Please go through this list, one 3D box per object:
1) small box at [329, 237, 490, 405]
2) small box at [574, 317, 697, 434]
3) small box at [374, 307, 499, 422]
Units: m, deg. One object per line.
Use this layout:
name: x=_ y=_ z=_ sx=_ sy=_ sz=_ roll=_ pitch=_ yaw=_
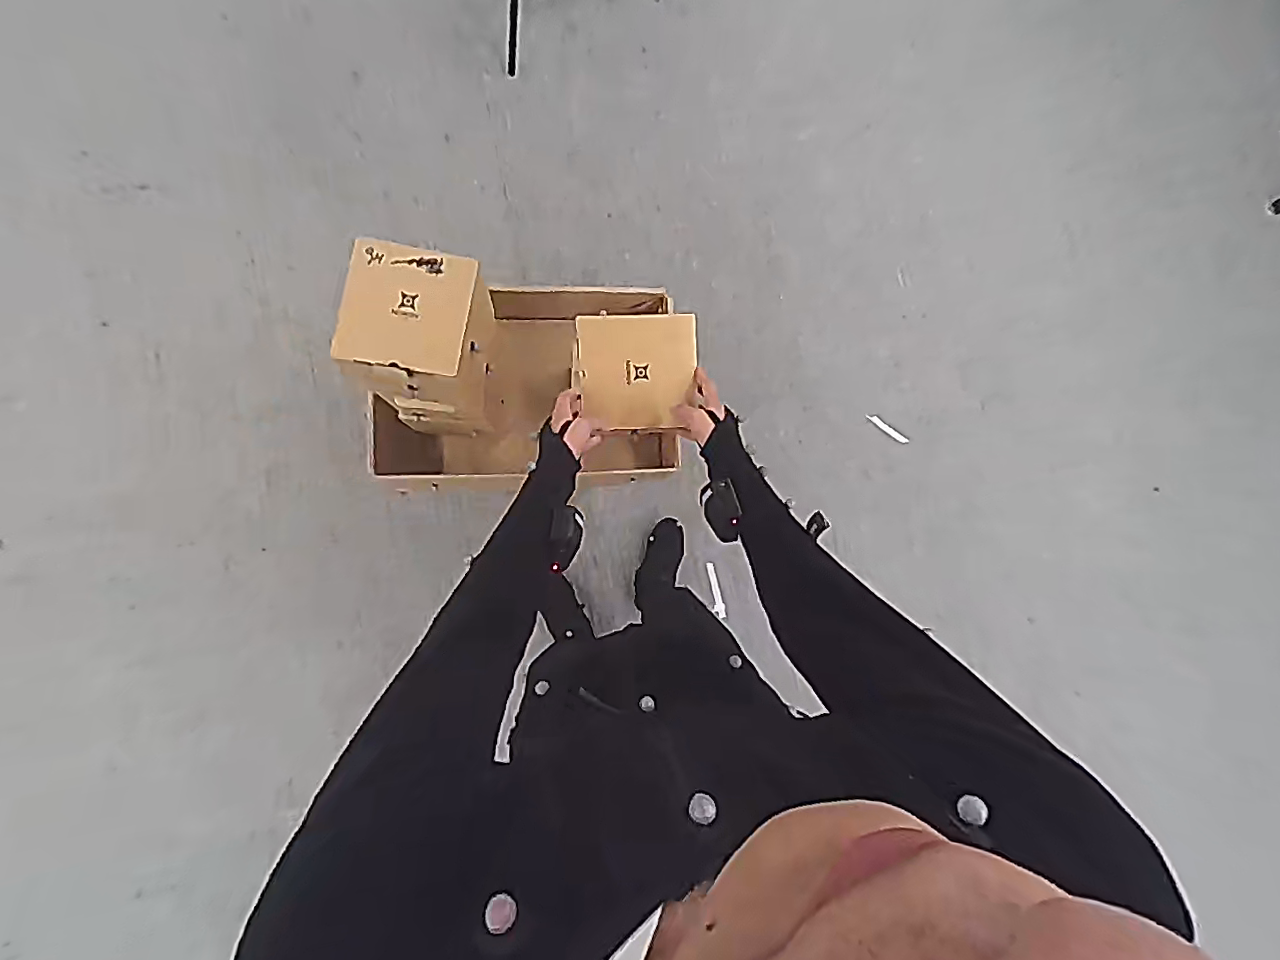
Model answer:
small box: x=-0.327 y=-0.222 z=0.805 sx=0.168 sy=0.176 sz=0.179 roll=9 pitch=83 yaw=-7
small box: x=-0.010 y=-0.158 z=0.860 sx=0.179 sy=0.176 sz=0.168 roll=-3 pitch=94 yaw=-2
small box: x=-0.352 y=-0.209 z=0.968 sx=0.168 sy=0.176 sz=0.179 roll=6 pitch=82 yaw=-7
